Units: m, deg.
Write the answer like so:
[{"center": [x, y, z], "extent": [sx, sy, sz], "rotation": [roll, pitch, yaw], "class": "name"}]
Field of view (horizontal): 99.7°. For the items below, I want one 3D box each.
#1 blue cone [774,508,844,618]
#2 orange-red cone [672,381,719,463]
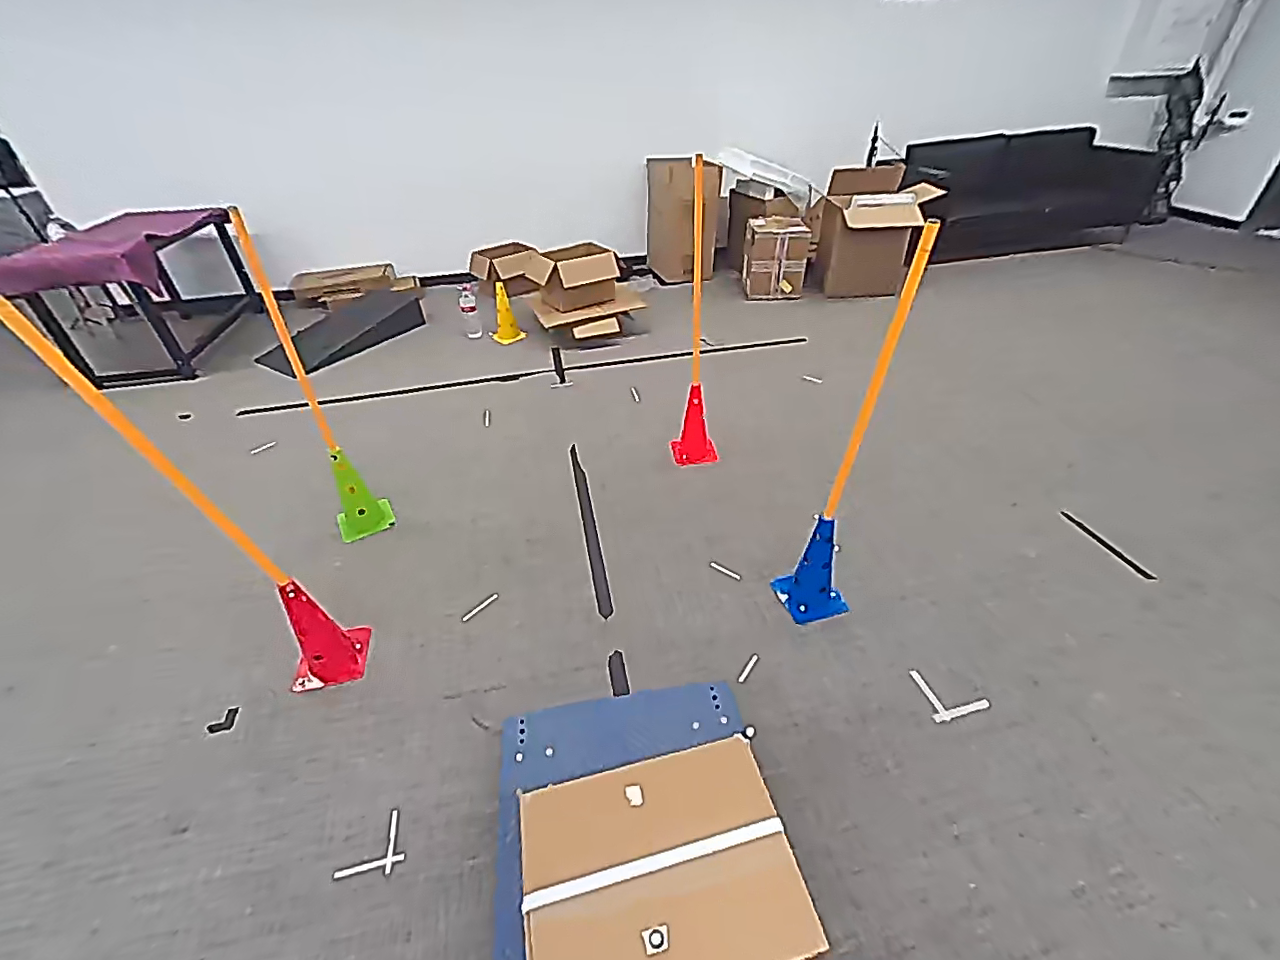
[{"center": [0.567, 0.252, 1.736], "extent": [0.193, 0.380, 0.192], "rotation": [-11, 37, -12], "class": "blue cone"}, {"center": [0.252, -0.276, 2.409], "extent": [0.199, 0.360, 0.198], "rotation": [-4, 38, -4], "class": "orange-red cone"}]
